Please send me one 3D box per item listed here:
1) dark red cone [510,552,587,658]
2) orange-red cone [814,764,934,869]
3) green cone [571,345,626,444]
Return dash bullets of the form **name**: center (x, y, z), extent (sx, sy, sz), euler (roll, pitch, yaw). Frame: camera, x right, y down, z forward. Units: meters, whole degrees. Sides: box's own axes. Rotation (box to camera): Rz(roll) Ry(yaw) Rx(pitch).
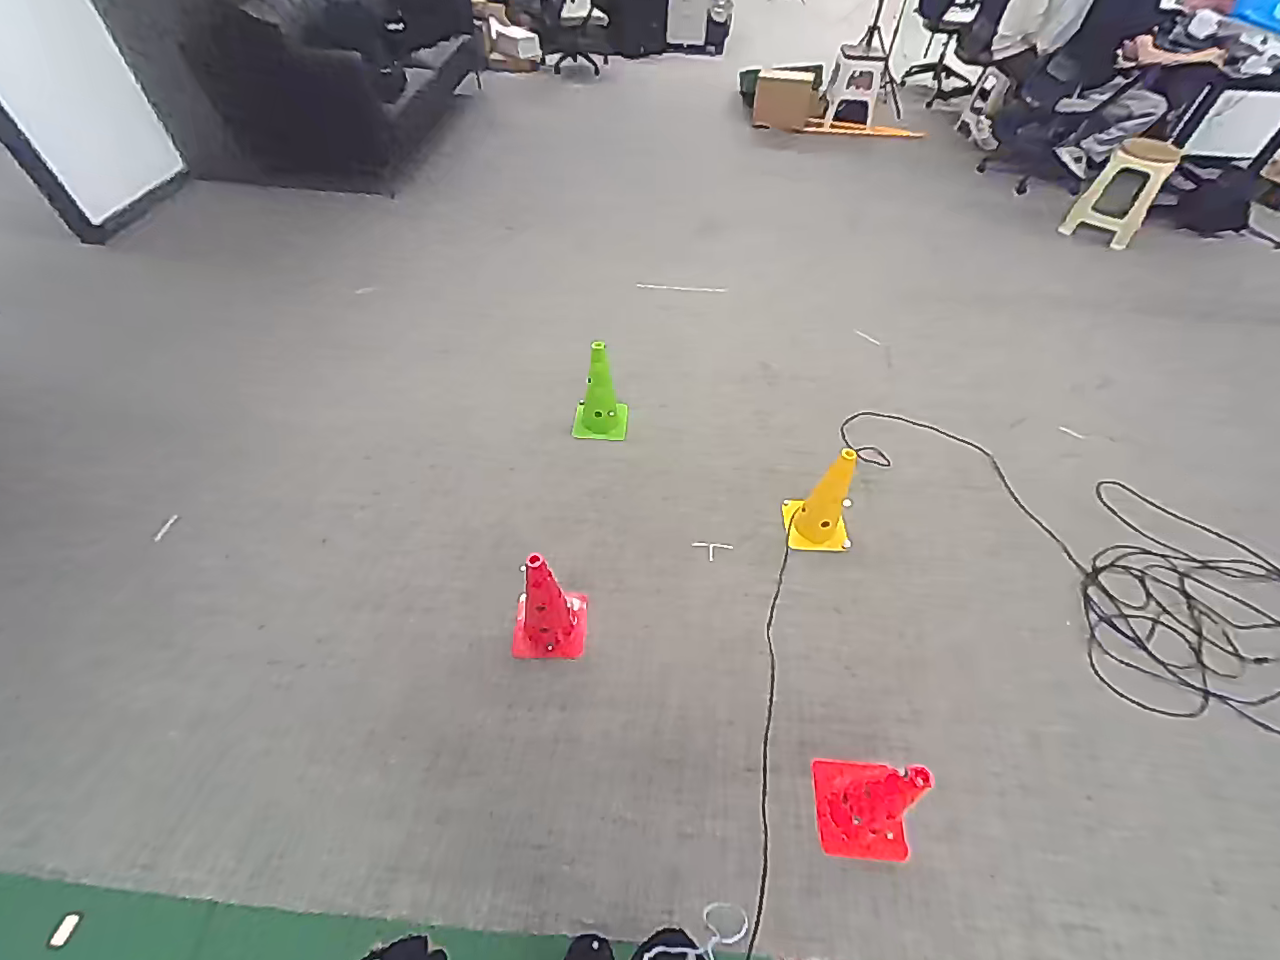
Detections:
- **dark red cone**: center (-0.250, 0.301, 1.397), extent (0.202, 0.394, 0.201), euler (0, 51, -2)
- **orange-red cone**: center (0.521, 0.674, 1.141), extent (0.198, 0.360, 0.199), euler (5, 49, 2)
- **green cone**: center (-0.149, -0.325, 1.958), extent (0.202, 0.368, 0.200), euler (4, 50, 0)
